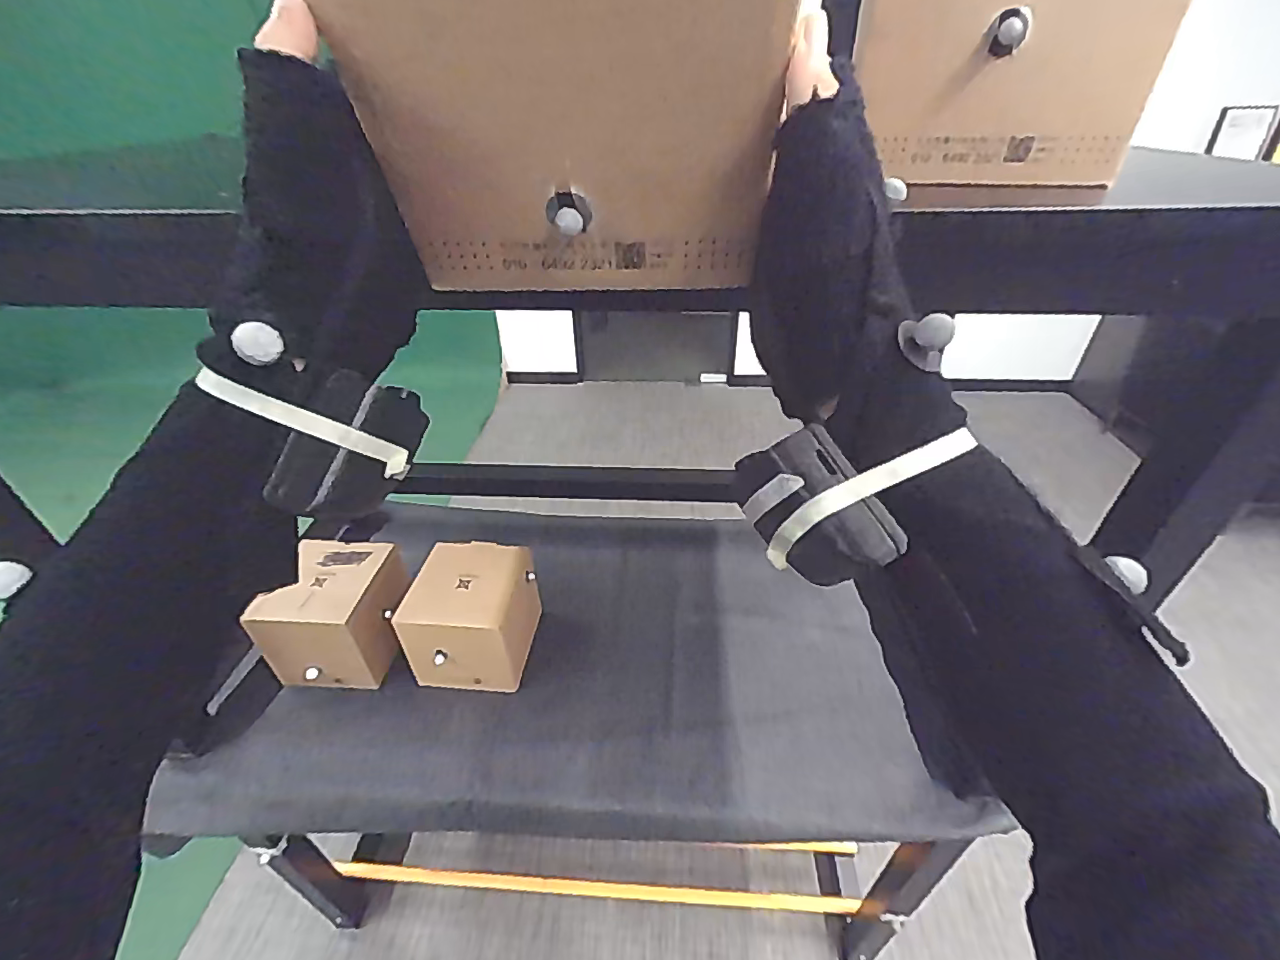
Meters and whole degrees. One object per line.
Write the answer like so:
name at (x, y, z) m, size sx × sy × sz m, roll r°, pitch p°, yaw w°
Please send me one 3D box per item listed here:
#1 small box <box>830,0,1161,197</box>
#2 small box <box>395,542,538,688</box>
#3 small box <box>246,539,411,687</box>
small box at (0.240, -0.311, 0.393) m, size 0.168 × 0.176 × 0.179 m, roll 8°, pitch 36°, yaw 12°
small box at (-0.276, 0.226, 0.910) m, size 0.168 × 0.176 × 0.179 m, roll 3°, pitch 35°, yaw 4°
small box at (-0.504, 0.222, 0.916) m, size 0.168 × 0.176 × 0.179 m, roll 2°, pitch 36°, yaw 3°
